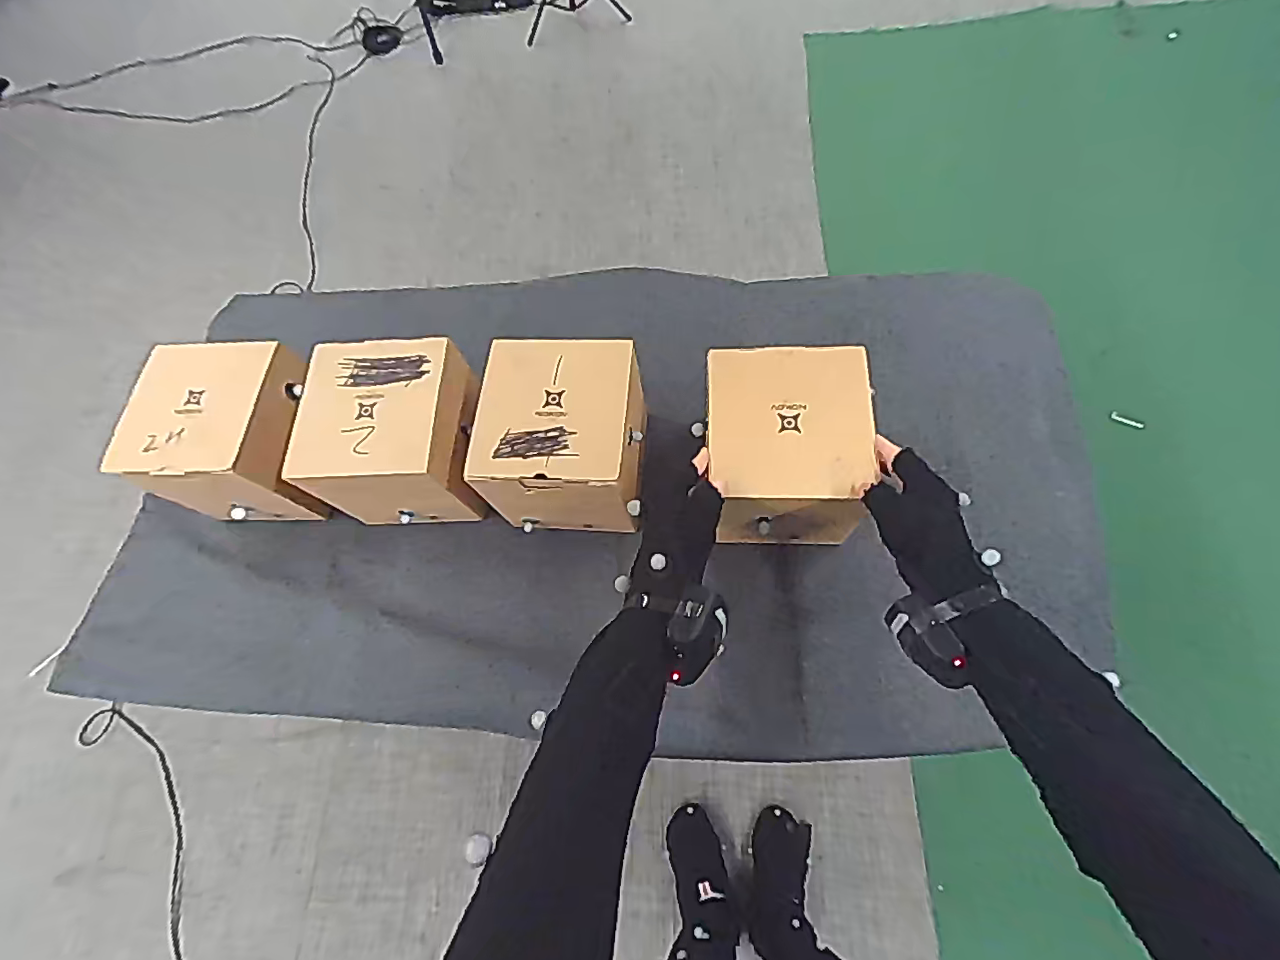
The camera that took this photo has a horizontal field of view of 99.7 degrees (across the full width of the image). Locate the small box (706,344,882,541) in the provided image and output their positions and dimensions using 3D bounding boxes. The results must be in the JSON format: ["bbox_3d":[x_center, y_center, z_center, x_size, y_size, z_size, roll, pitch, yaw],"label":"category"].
[{"bbox_3d":[0.160,-0.033,0.617,0.168,0.176,0.179,0,68,7],"label":"small box"}]

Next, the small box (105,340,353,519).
[{"bbox_3d":[-0.507,-0.059,0.701,0.168,0.176,0.179,0,68,6],"label":"small box"}]
